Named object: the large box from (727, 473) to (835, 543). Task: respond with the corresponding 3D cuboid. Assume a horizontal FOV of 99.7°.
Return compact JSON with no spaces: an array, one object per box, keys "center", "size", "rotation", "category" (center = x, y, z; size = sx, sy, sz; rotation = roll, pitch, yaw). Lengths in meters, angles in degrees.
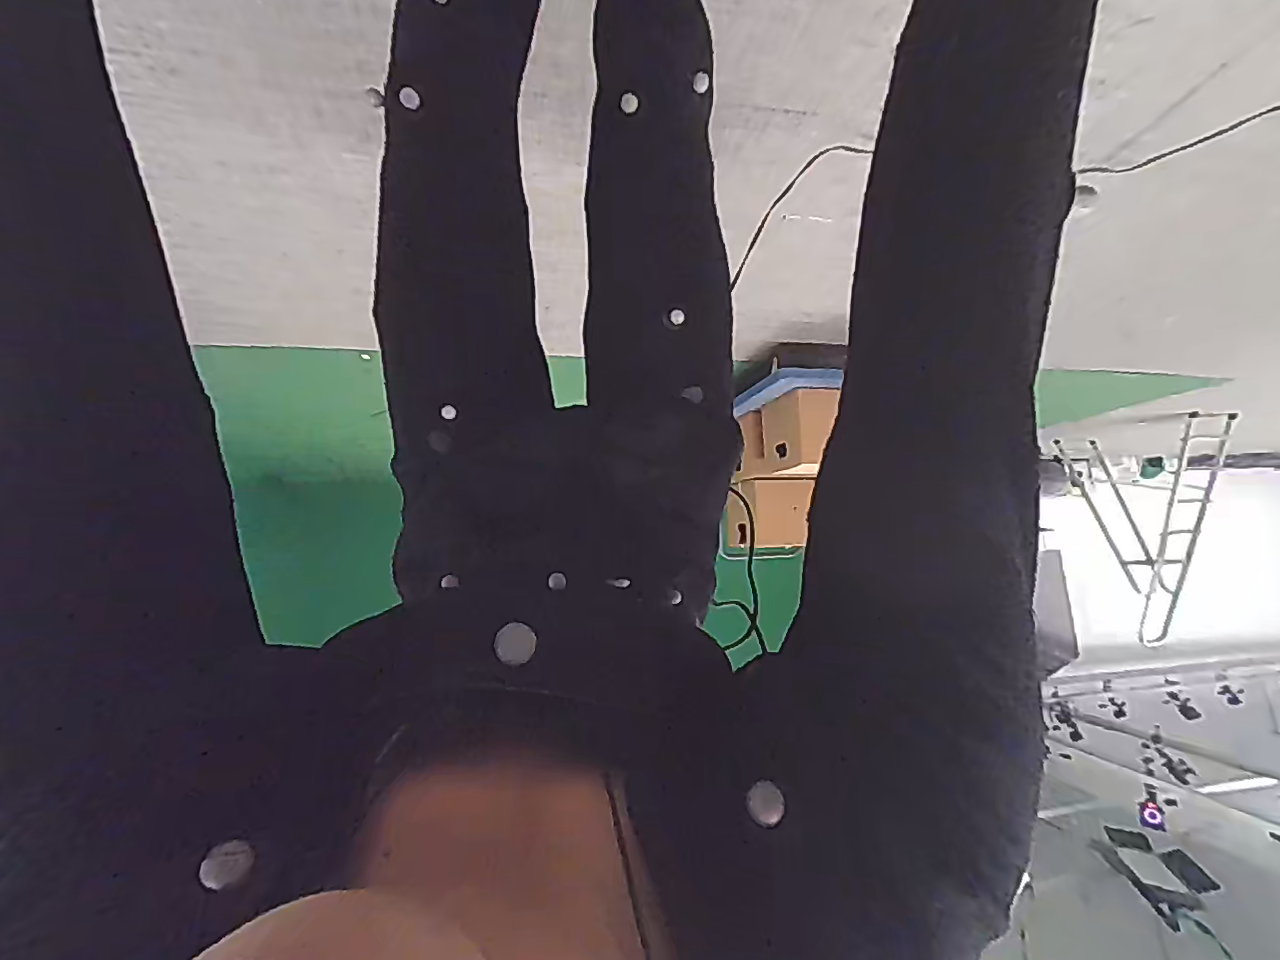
[{"center":[0.673,0.137,2.621],"size":[0.408,0.320,0.320],"rotation":[-1,176,-16],"category":"large box"}]
